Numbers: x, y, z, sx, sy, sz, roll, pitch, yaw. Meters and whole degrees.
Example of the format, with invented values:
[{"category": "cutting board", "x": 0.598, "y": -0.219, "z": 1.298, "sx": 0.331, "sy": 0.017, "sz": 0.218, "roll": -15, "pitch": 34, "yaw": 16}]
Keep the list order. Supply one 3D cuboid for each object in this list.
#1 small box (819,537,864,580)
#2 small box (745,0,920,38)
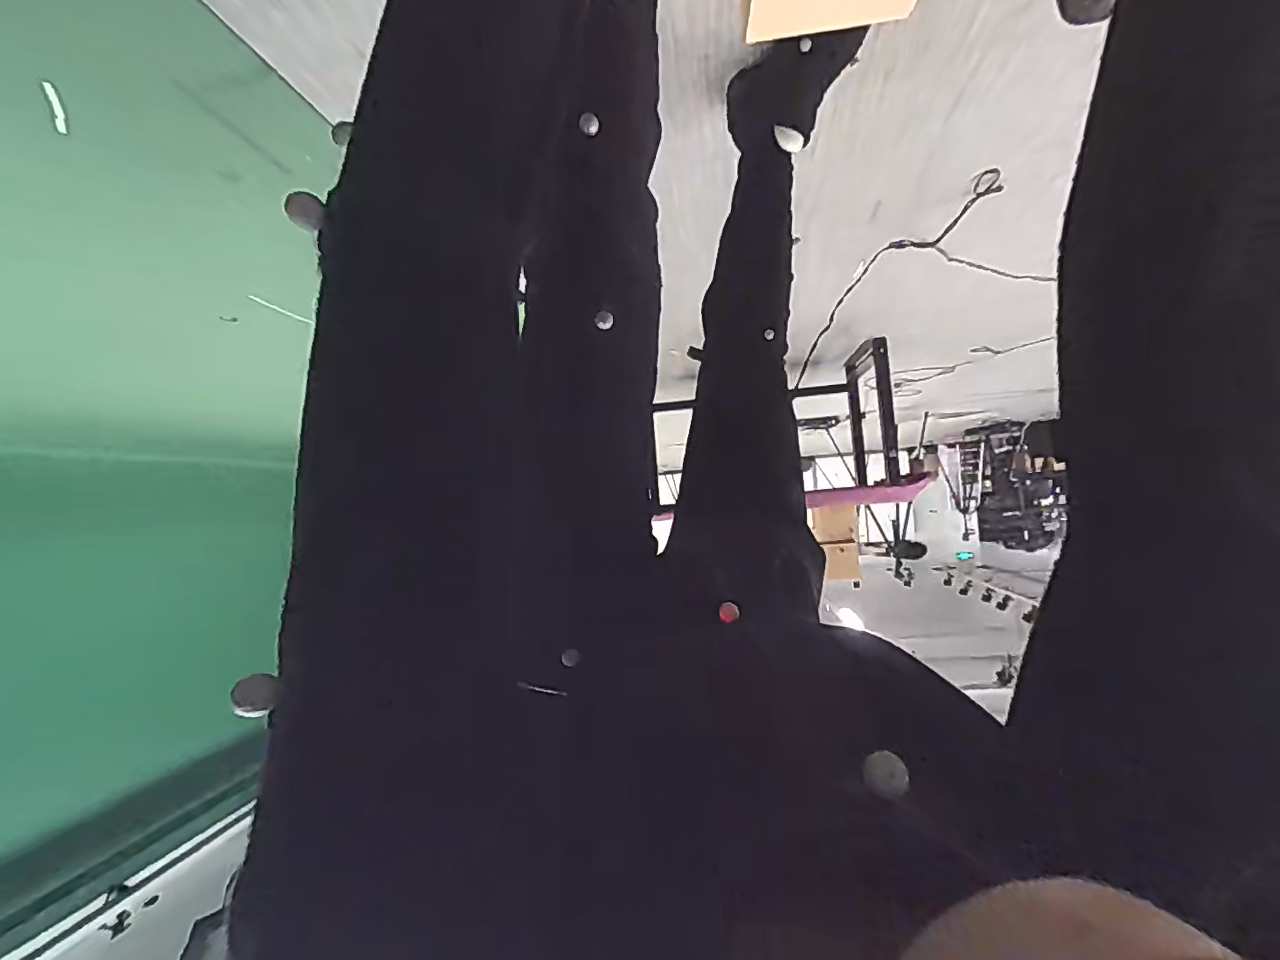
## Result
[{"category": "small box", "x": 0.913, "y": 0.354, "z": 2.459, "sx": 0.168, "sy": 0.176, "sz": 0.179, "roll": -6, "pitch": 179, "yaw": 12}, {"category": "small box", "x": 0.178, "y": -0.537, "z": 0.459, "sx": 0.168, "sy": 0.176, "sz": 0.179, "roll": -6, "pitch": 178, "yaw": 4}]
